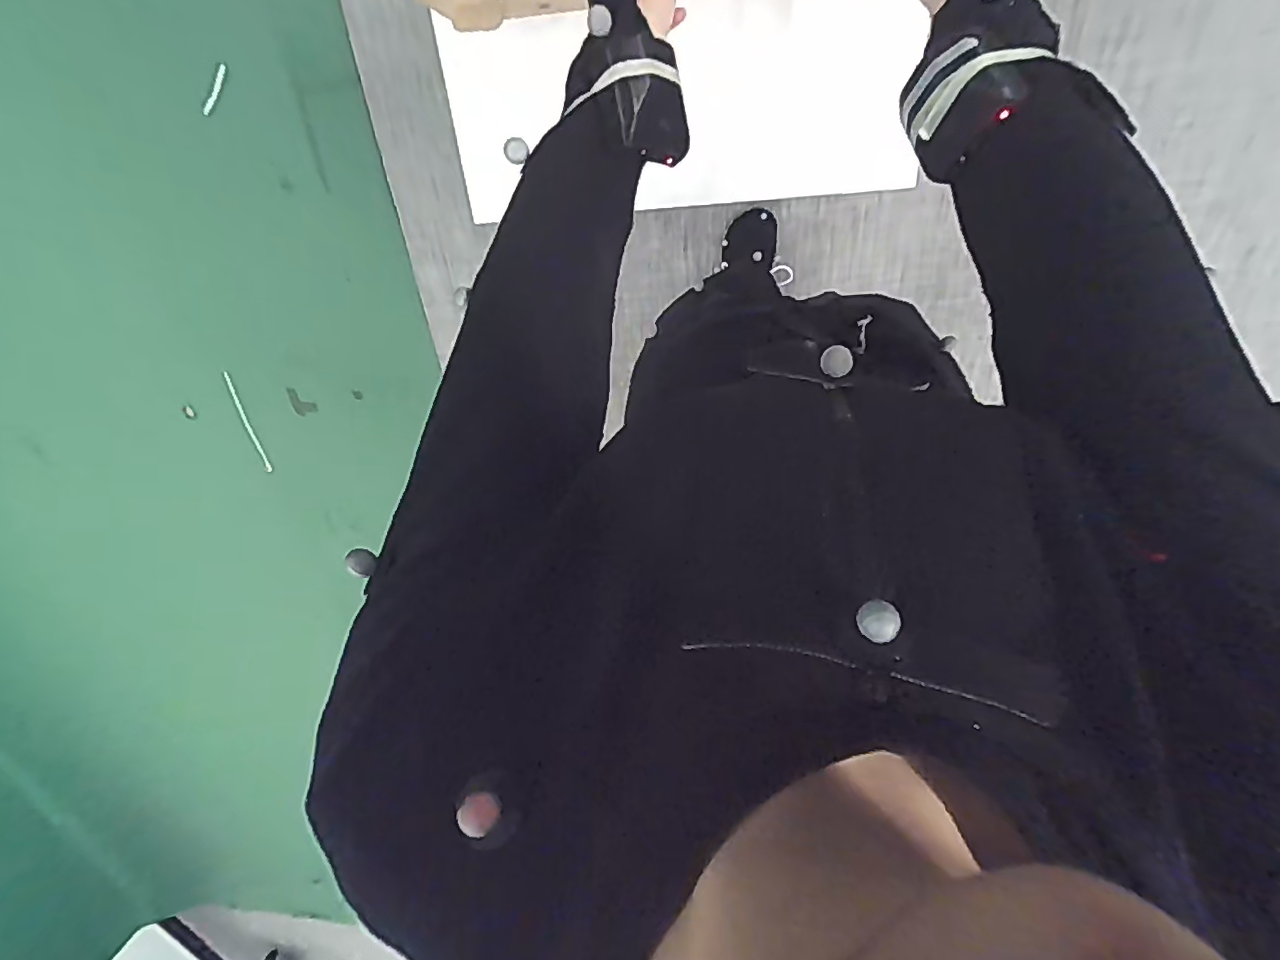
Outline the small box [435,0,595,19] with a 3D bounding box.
[{"bbox_3d":[-0.129,-0.511,0.437,0.168,0.176,0.179,0,120,7],"label":"small box"}]
